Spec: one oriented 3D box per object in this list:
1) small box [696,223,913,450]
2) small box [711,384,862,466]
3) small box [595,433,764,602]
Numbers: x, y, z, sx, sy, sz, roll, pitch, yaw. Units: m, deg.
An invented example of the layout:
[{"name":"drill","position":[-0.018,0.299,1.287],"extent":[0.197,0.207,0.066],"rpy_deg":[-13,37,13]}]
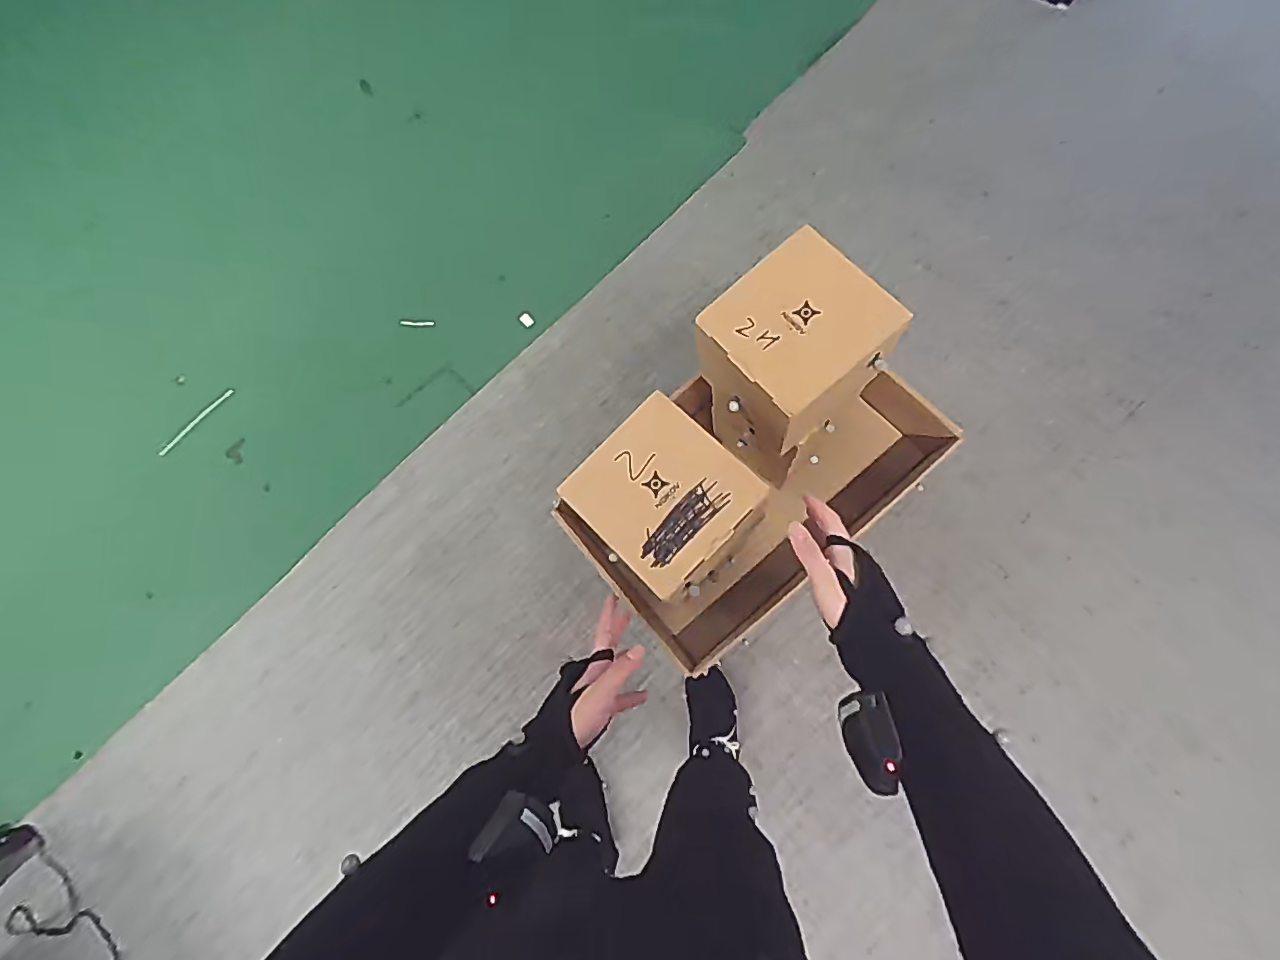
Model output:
[{"name":"small box","position":[0.190,-0.165,0.671],"extent":[0.179,0.176,0.168],"rpy_deg":[-40,74,1]},{"name":"small box","position":[0.230,-0.144,0.831],"extent":[0.168,0.176,0.179],"rpy_deg":[42,89,15]},{"name":"small box","position":[0.064,0.063,0.815],"extent":[0.168,0.176,0.179],"rpy_deg":[-43,75,-3]}]
